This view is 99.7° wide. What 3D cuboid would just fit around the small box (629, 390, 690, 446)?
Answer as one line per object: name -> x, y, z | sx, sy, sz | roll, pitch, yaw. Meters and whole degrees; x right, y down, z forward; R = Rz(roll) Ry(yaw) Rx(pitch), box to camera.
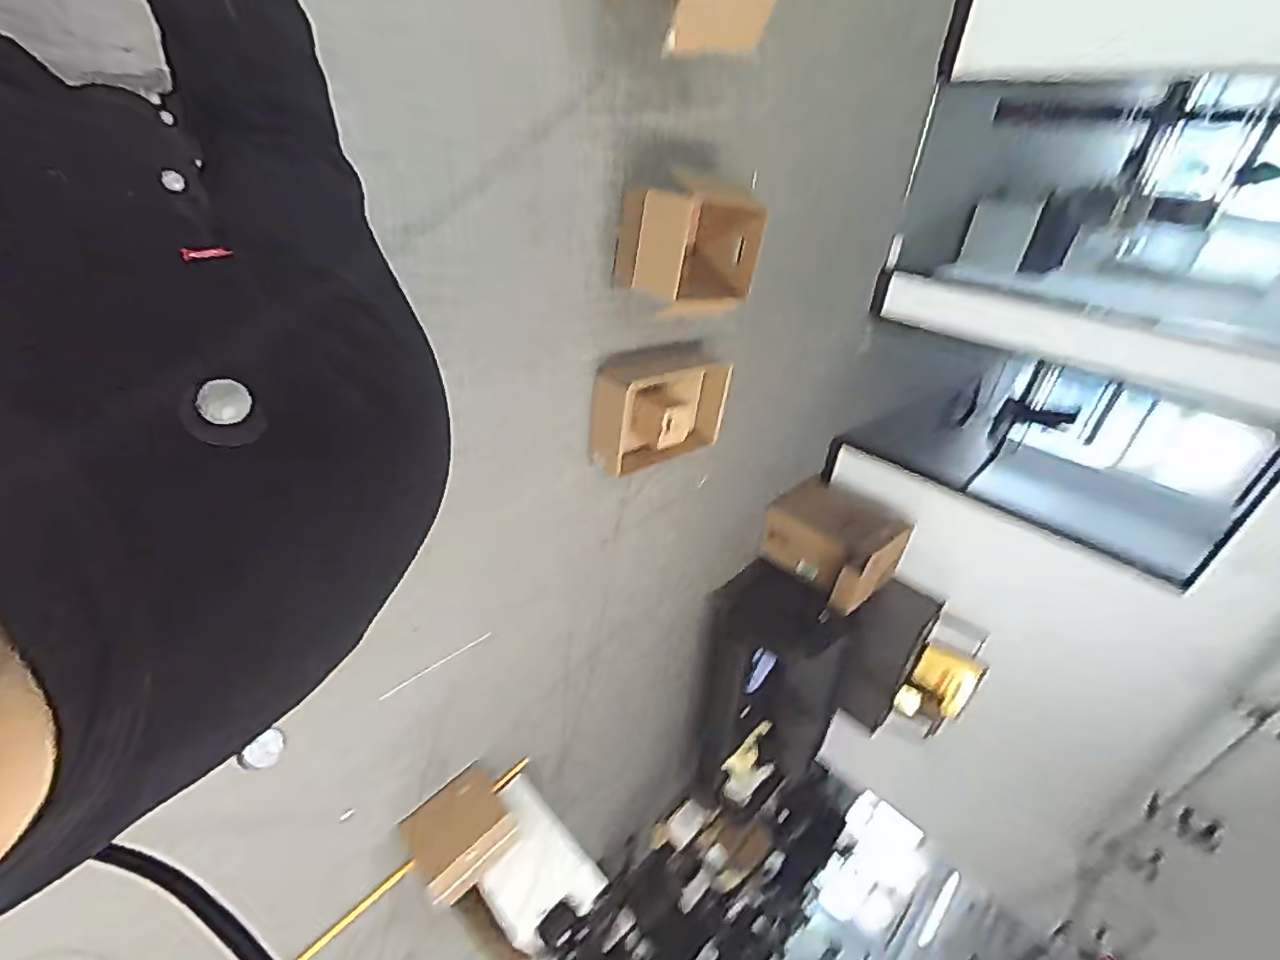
small box -> 0.076, -0.258, 2.209 | 0.179, 0.176, 0.168 | -21, 131, -43
